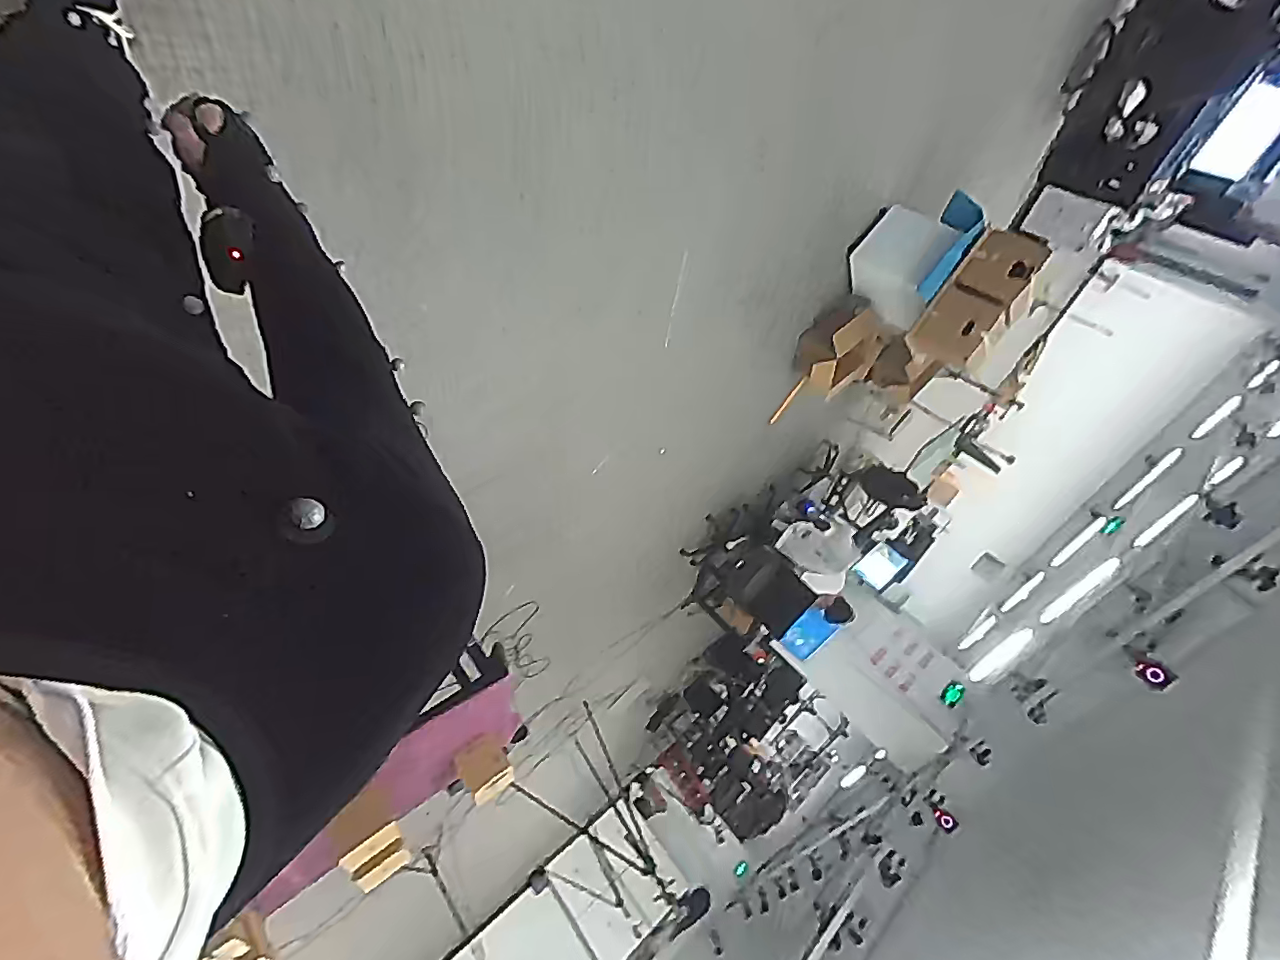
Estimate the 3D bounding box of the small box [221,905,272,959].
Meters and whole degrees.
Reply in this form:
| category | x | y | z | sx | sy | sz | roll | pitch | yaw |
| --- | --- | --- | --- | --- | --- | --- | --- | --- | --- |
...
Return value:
| category | x | y | z | sx | sy | sz | roll | pitch | yaw |
| --- | --- | --- | --- | --- | --- | --- | --- | --- | --- |
| small box | -1.283 | 1.466 | 1.672 | 0.168 | 0.176 | 0.179 | -29 | 147 | -36 |

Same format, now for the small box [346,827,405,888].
| category | x | y | z | sx | sy | sz | roll | pitch | yaw |
| --- | --- | --- | --- | --- | --- | --- | --- | --- | --- |
| small box | -0.959 | 1.293 | 1.919 | 0.168 | 0.176 | 0.179 | -27 | 145 | -34 |

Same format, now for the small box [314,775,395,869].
| category | x | y | z | sx | sy | sz | roll | pitch | yaw |
| --- | --- | --- | --- | --- | --- | --- | --- | --- | --- |
| small box | -0.904 | 1.080 | 1.718 | 0.168 | 0.176 | 0.179 | -26 | 146 | -36 |

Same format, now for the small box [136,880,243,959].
| category | x | y | z | sx | sy | sz | roll | pitch | yaw |
| --- | --- | --- | --- | --- | --- | --- | --- | --- | --- |
| small box | -1.217 | 1.233 | 1.466 | 0.168 | 0.176 | 0.179 | -26 | 148 | -38 |
